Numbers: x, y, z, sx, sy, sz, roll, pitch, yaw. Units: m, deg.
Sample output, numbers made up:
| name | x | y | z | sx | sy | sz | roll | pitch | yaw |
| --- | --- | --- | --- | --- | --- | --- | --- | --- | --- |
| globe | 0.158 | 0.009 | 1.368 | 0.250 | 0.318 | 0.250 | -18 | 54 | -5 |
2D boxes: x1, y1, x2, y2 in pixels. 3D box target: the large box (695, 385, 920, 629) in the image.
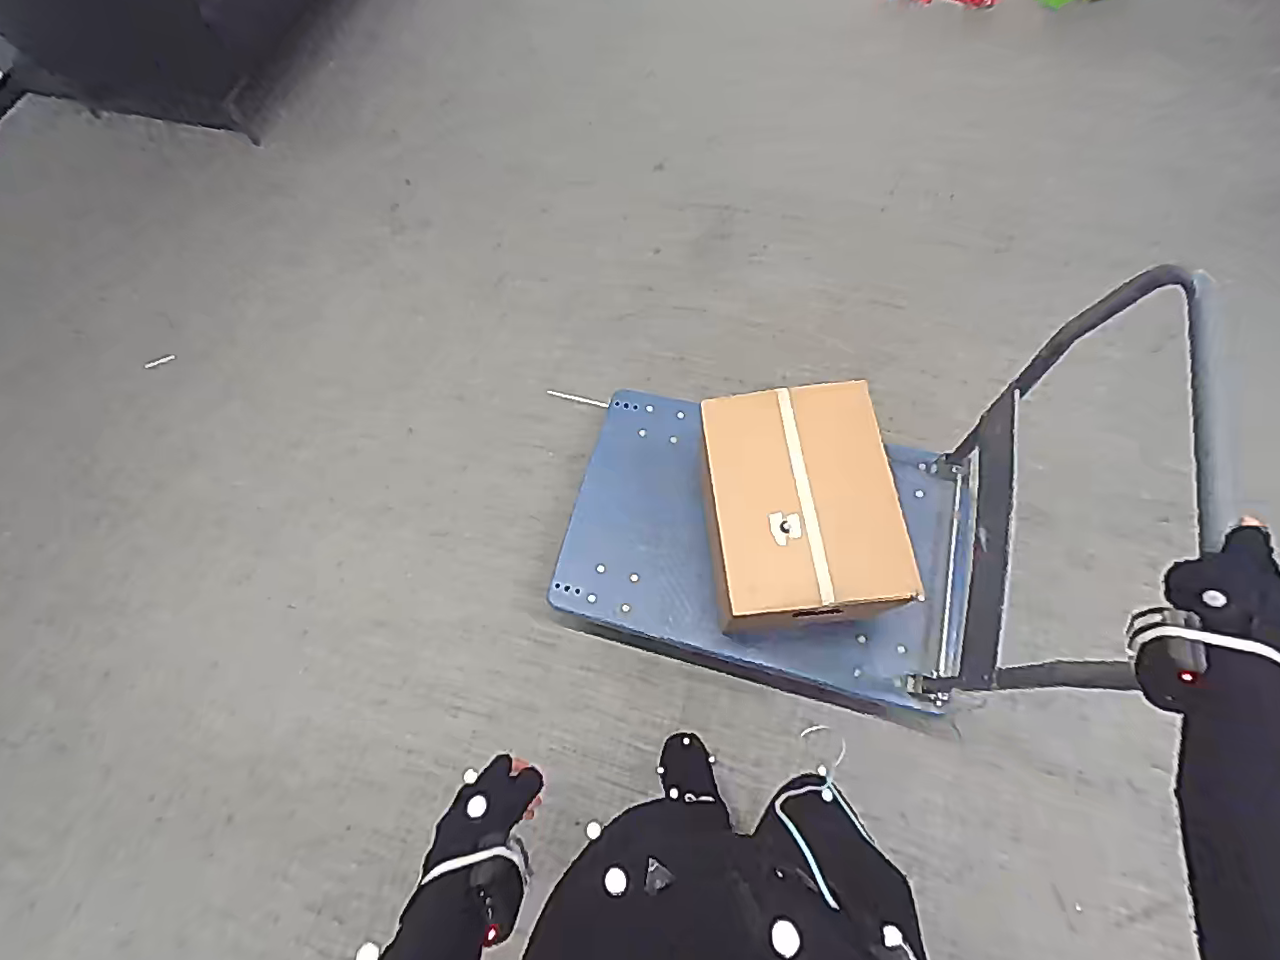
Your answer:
| name | x | y | z | sx | sy | sz | roll | pitch | yaw |
| --- | --- | --- | --- | --- | --- | --- | --- | --- | --- |
| large box | 0.295 | 0.071 | 1.091 | 0.320 | 0.320 | 0.408 | -6 | 70 | 3 |
